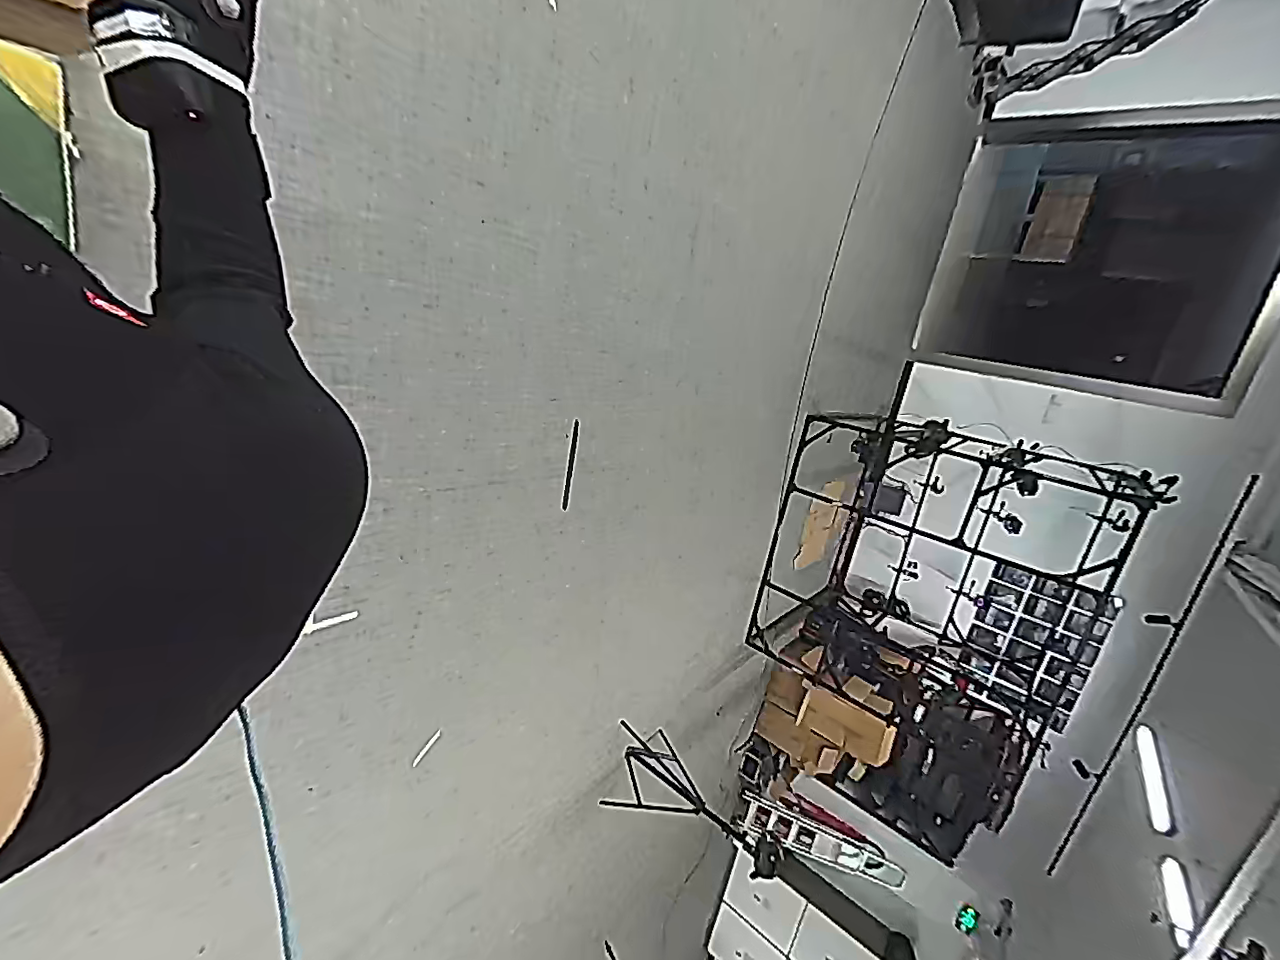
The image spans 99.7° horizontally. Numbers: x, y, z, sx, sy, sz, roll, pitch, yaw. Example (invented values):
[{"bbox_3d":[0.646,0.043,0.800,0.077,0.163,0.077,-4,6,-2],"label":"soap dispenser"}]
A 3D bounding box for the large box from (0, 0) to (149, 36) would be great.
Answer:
[{"bbox_3d":[-0.569,-0.500,0.267,0.408,0.320,0.320,-17,125,-52],"label":"large box"}]
